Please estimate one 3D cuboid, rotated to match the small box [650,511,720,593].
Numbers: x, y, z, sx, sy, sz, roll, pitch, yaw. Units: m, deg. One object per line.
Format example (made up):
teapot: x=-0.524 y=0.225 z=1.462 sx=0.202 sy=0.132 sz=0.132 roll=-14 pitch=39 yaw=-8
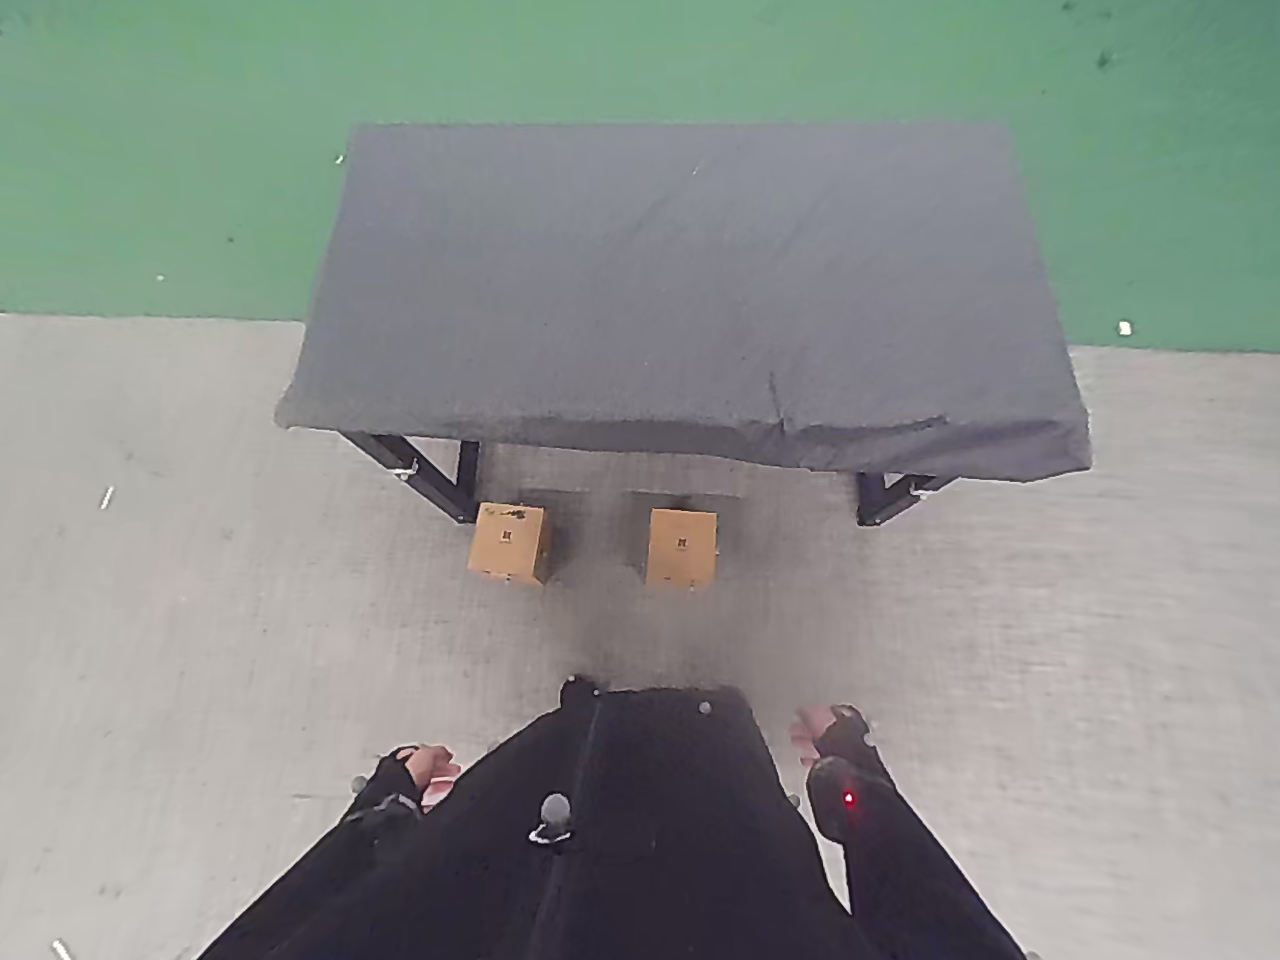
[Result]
small box: x=0.114 y=0.192 z=1.407 sx=0.168 sy=0.176 sz=0.179 roll=4 pitch=69 yaw=1
